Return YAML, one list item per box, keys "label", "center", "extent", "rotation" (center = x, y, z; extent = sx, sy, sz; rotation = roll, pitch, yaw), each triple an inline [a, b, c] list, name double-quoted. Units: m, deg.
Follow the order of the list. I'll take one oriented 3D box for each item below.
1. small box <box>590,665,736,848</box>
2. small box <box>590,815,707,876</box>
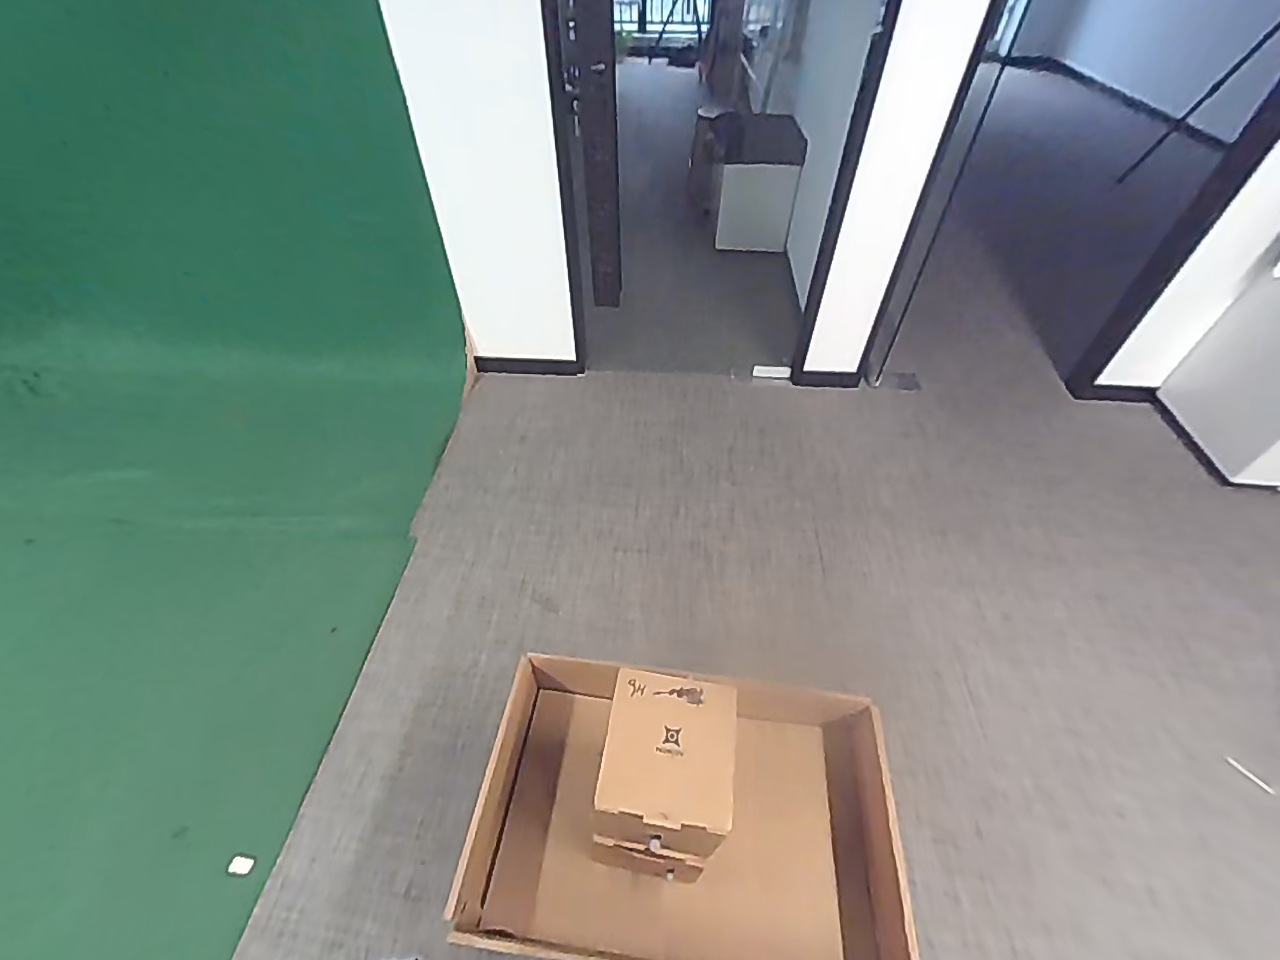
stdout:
- label: "small box"
  center: [0.032, 0.385, 0.746]
  extent: [0.168, 0.176, 0.179]
  rotation: [9, 49, 4]
- label: "small box"
  center: [0.021, 0.503, 0.860]
  extent: [0.168, 0.176, 0.179]
  rotation: [9, 46, 4]
